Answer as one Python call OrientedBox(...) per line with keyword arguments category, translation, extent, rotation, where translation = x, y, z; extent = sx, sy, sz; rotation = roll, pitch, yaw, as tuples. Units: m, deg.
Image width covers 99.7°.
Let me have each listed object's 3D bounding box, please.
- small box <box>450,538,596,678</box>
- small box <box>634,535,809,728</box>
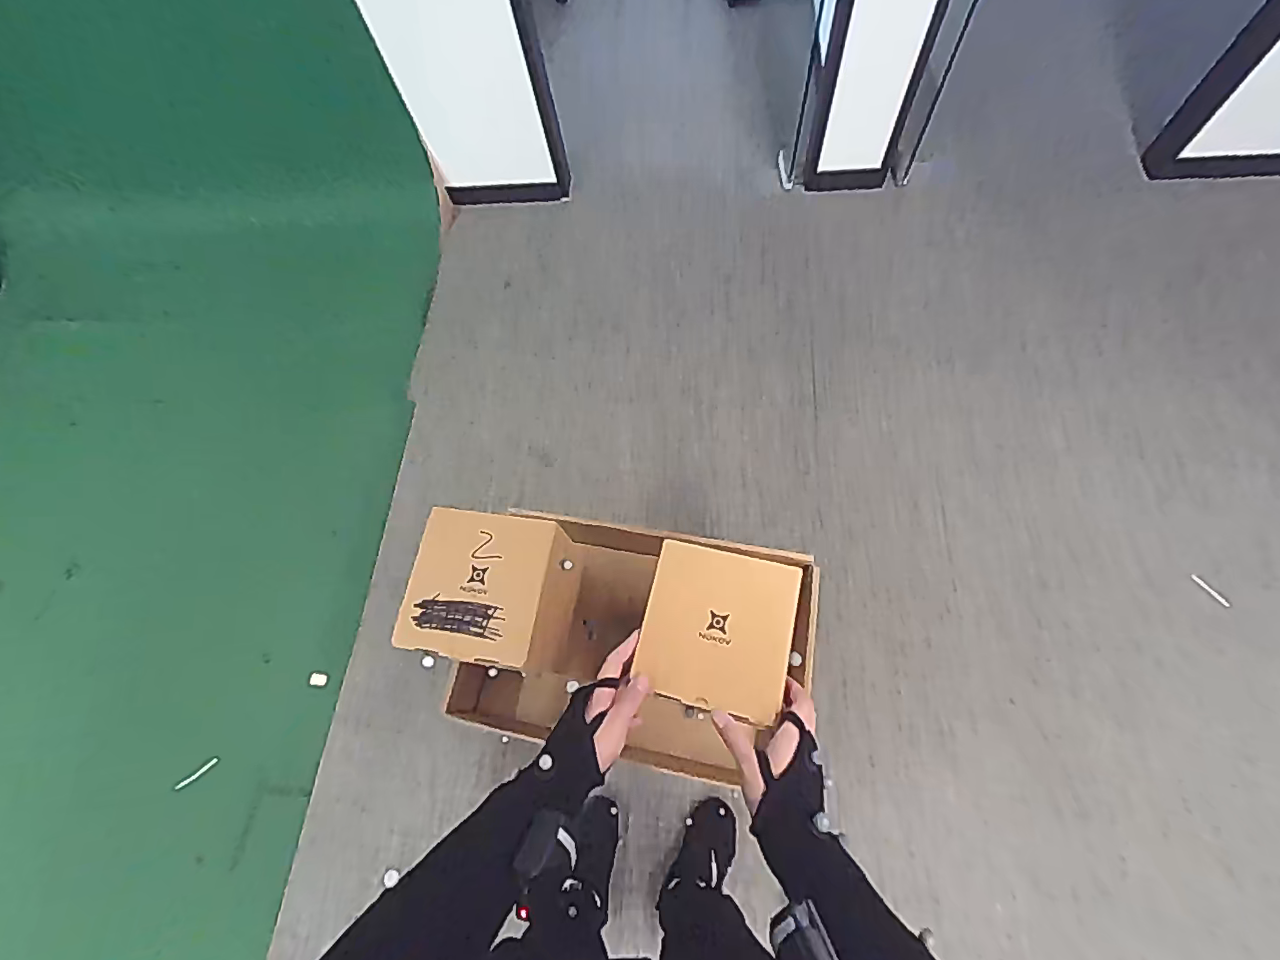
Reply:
OrientedBox(category="small box", translation=(-0.172, 0.208, 0.862), extent=(0.168, 0.176, 0.179), rotation=(6, 68, 9))
OrientedBox(category="small box", translation=(0.099, 0.189, 0.668), extent=(0.168, 0.176, 0.179), rotation=(12, 70, 11))
